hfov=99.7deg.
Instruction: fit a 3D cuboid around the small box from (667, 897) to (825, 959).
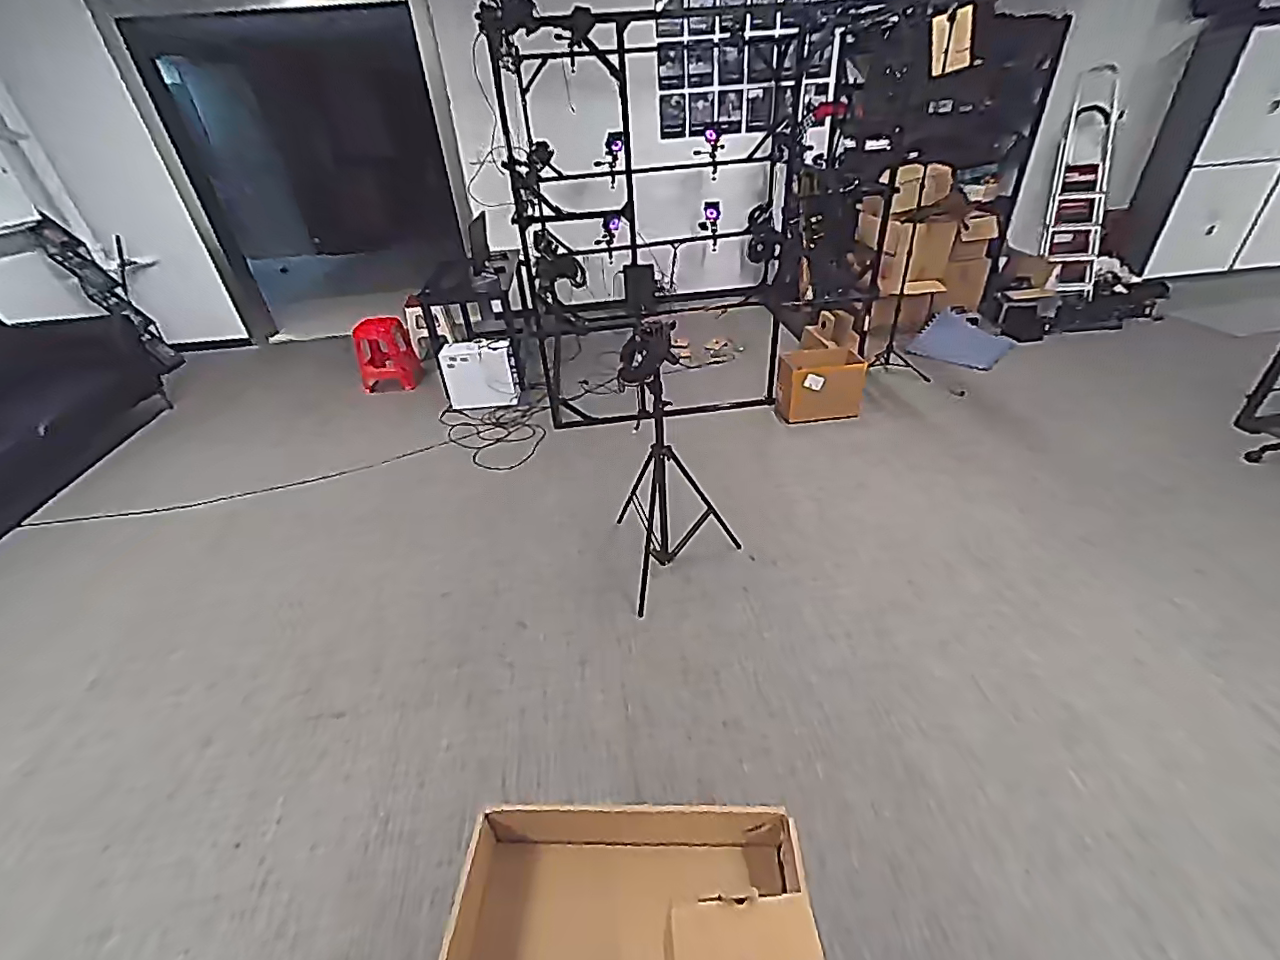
[{"bbox_3d":[0.120,0.604,0.603,0.168,0.176,0.179,-2,36,-3],"label":"small box"}]
